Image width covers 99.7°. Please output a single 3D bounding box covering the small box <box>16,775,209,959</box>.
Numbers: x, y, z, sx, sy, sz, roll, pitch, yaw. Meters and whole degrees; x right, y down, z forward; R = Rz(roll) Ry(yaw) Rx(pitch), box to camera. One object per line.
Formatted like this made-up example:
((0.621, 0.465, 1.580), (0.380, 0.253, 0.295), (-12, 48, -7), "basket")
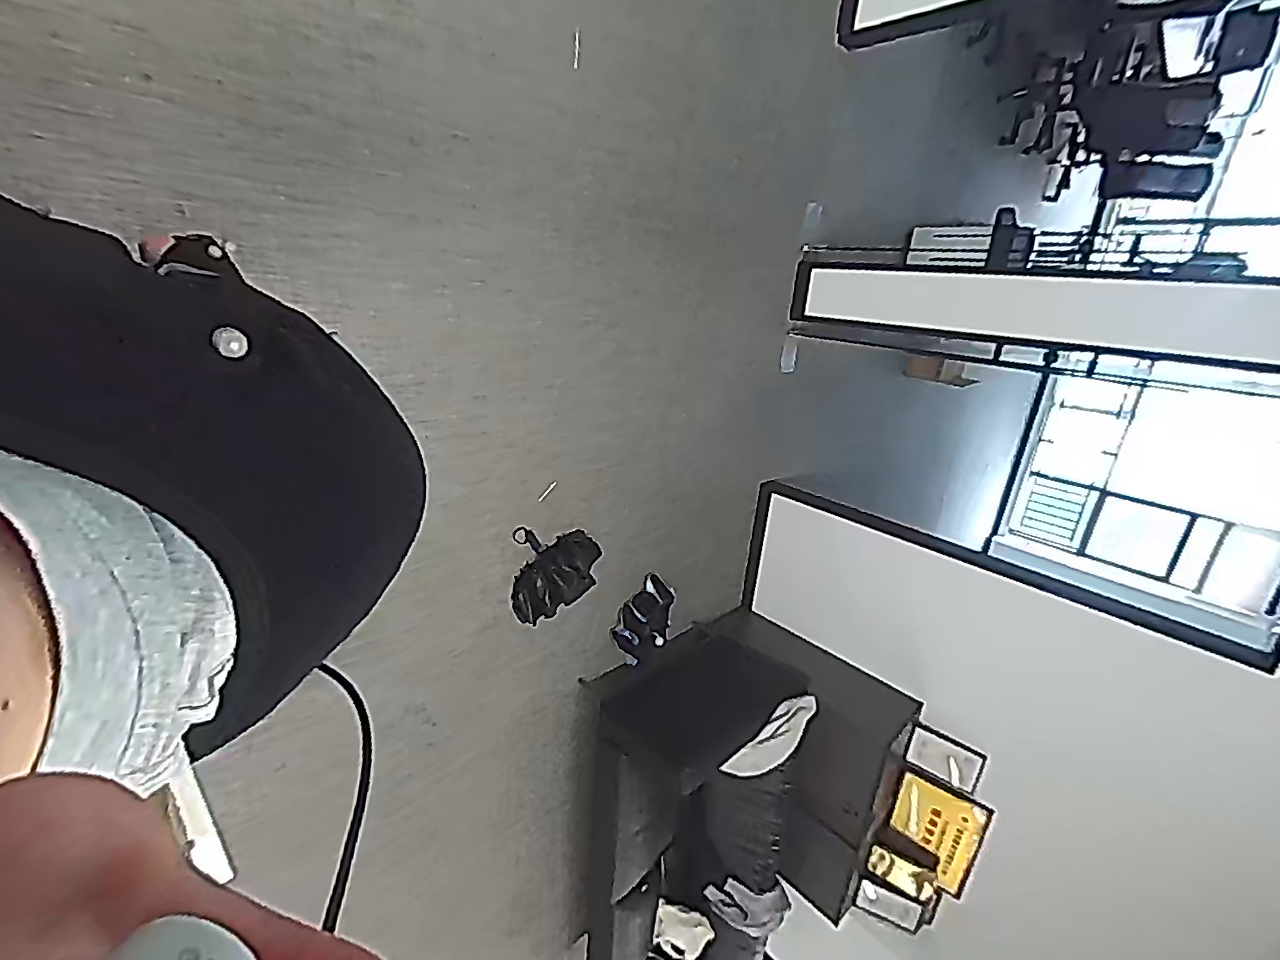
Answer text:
((-0.775, 0.594, 0.809), (0.168, 0.176, 0.179), (-17, 119, -40), "small box")
